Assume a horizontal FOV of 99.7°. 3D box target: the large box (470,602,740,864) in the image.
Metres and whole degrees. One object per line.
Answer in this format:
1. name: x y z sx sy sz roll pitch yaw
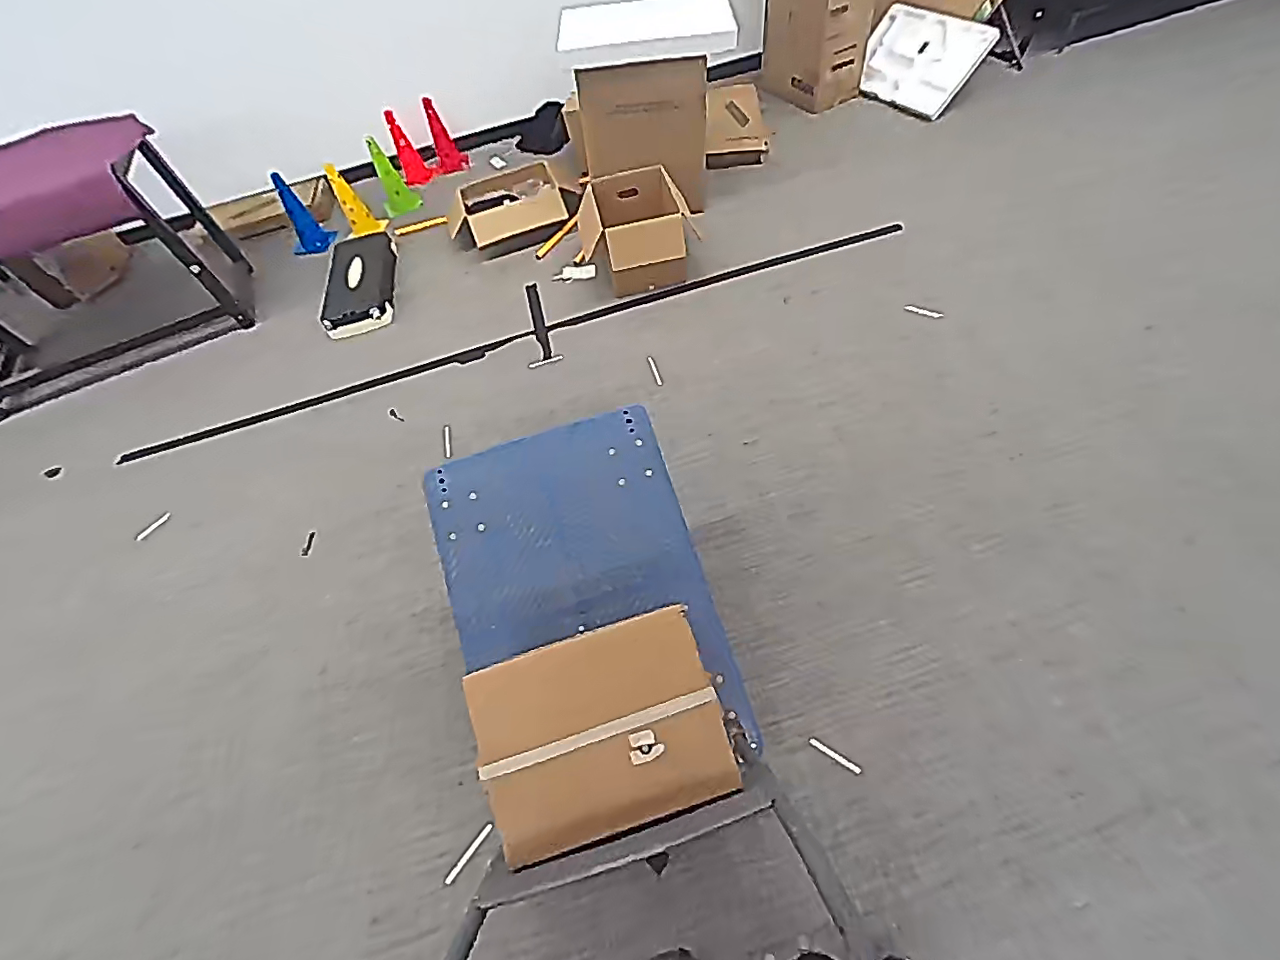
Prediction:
1. large box: -0.066 0.459 1.072 0.408 0.320 0.320 -18 78 -5
